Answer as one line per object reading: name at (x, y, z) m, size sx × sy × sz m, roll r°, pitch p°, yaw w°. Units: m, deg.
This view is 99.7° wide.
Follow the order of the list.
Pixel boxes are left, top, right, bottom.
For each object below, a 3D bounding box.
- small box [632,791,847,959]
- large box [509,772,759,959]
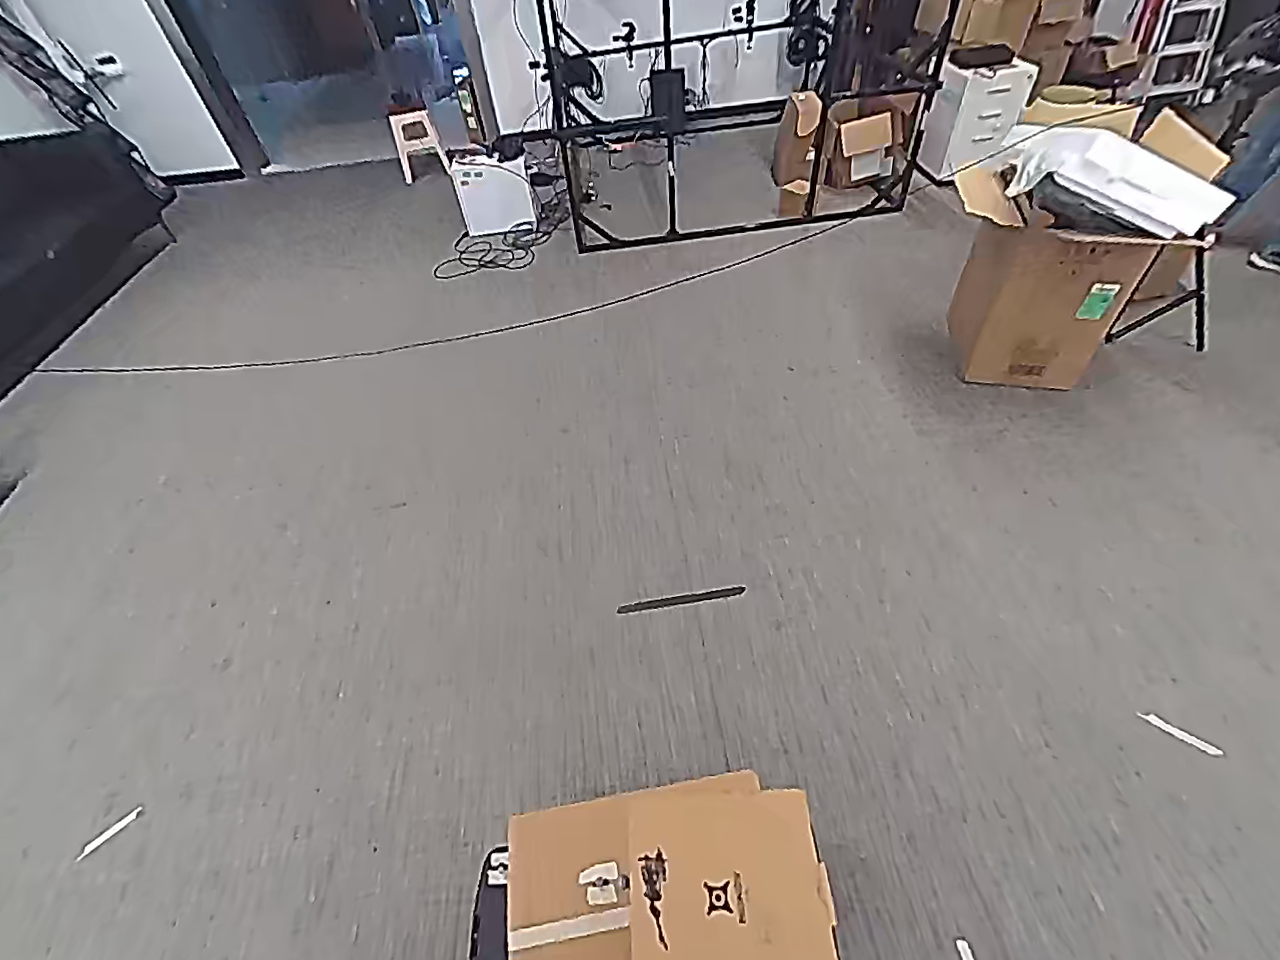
small box at (0.084, 0.413, 0.526) m, size 0.179 × 0.176 × 0.168 m, roll -4°, pitch 49°, yaw 1°
large box at (0.030, 0.713, 0.865) m, size 0.408 × 0.320 × 0.320 m, roll -10°, pitch 46°, yaw -2°
